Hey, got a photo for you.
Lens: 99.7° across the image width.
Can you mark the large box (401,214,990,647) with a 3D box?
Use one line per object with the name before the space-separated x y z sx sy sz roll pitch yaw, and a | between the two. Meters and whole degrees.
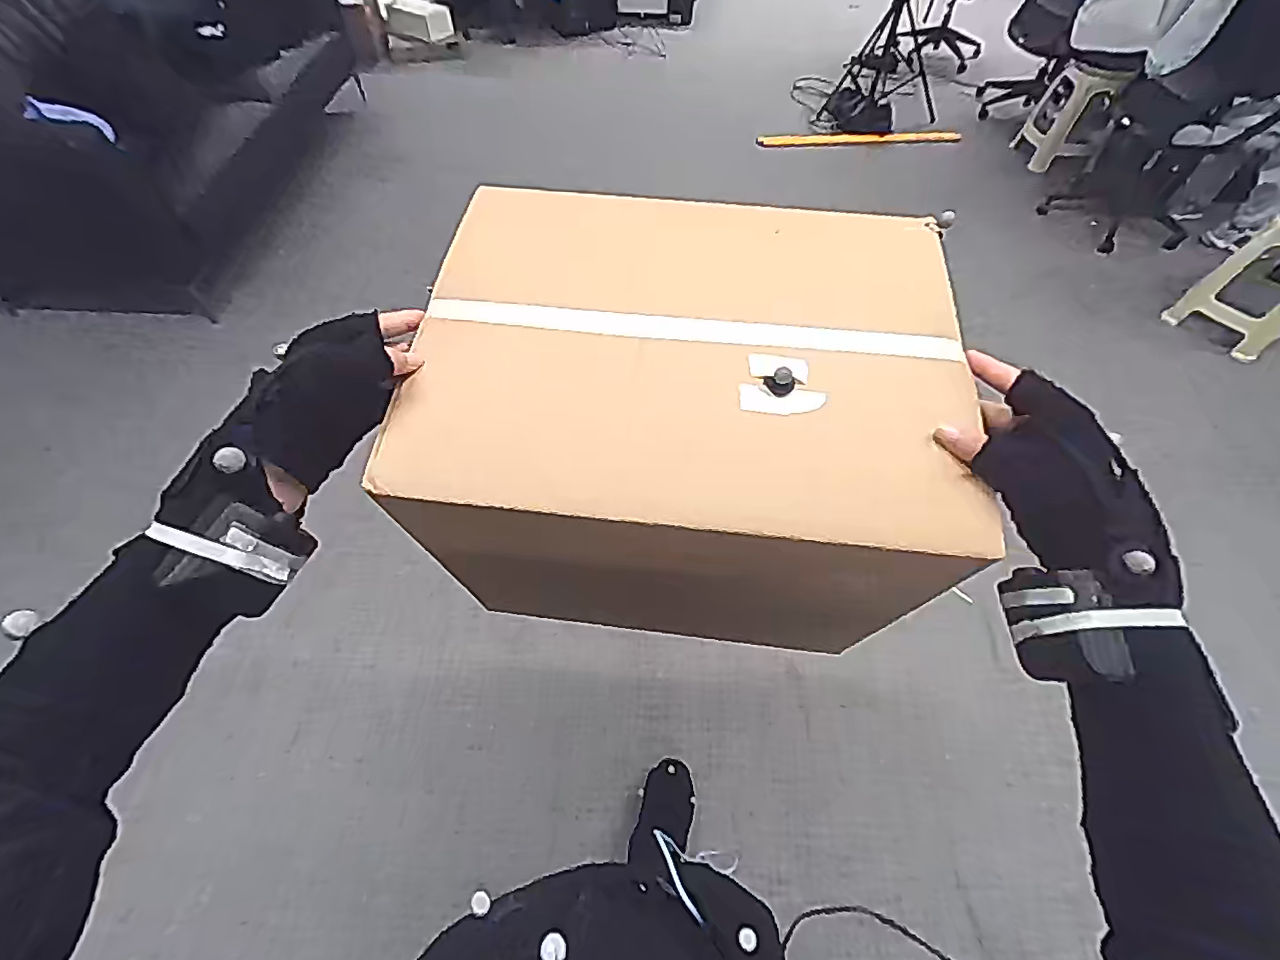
large box | 0.044 -0.030 0.559 0.408 0.320 0.320 6 62 2
